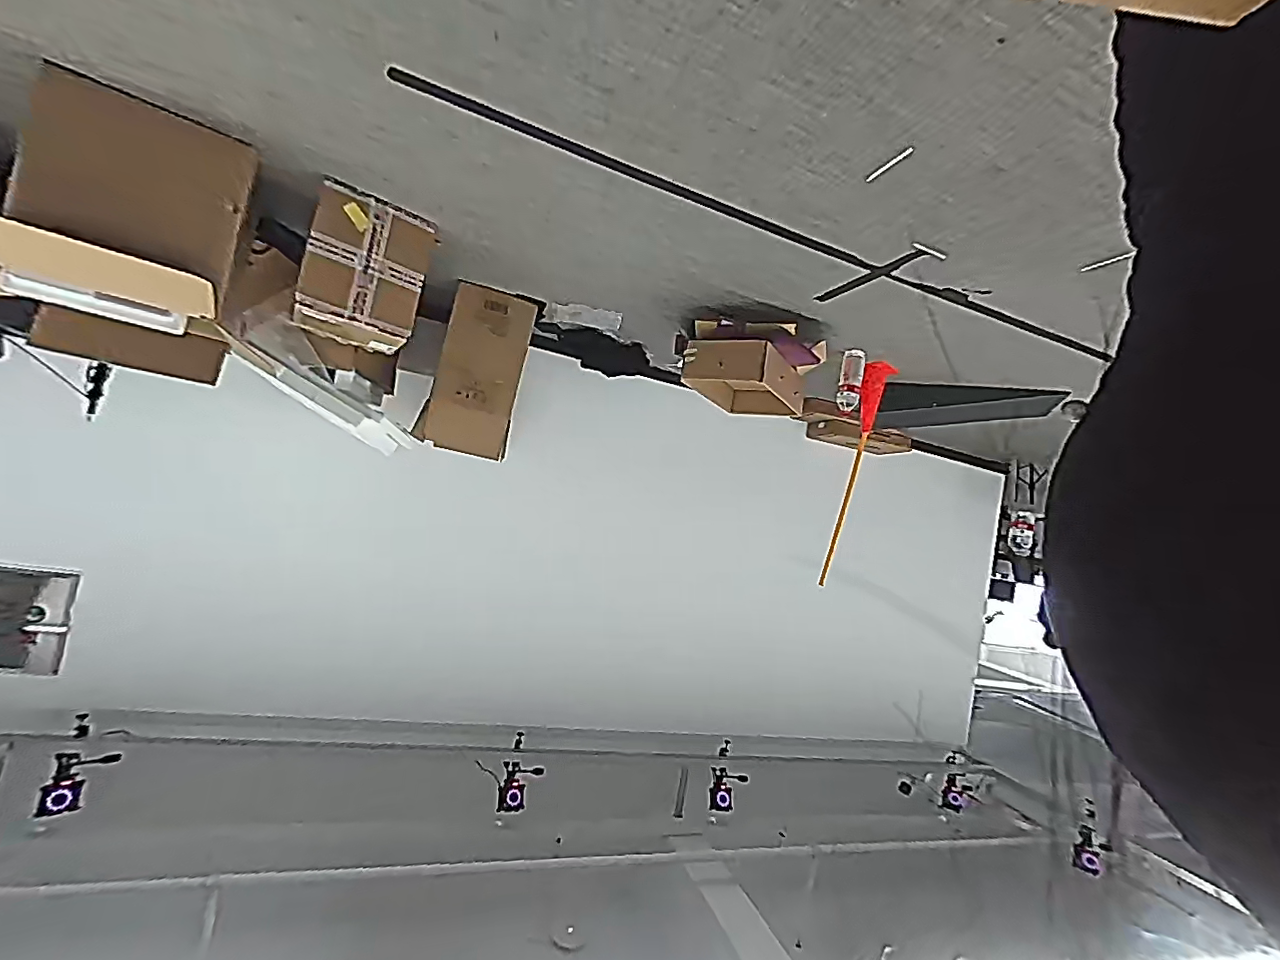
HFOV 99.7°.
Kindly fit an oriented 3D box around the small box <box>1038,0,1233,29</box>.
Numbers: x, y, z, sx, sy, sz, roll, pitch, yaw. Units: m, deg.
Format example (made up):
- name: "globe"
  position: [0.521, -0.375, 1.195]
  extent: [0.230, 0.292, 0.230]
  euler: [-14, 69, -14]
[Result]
- name: "small box"
  position: [0.148, -0.266, 0.122]
  extent: [0.168, 0.176, 0.179]
  euler: [4, 175, -5]
